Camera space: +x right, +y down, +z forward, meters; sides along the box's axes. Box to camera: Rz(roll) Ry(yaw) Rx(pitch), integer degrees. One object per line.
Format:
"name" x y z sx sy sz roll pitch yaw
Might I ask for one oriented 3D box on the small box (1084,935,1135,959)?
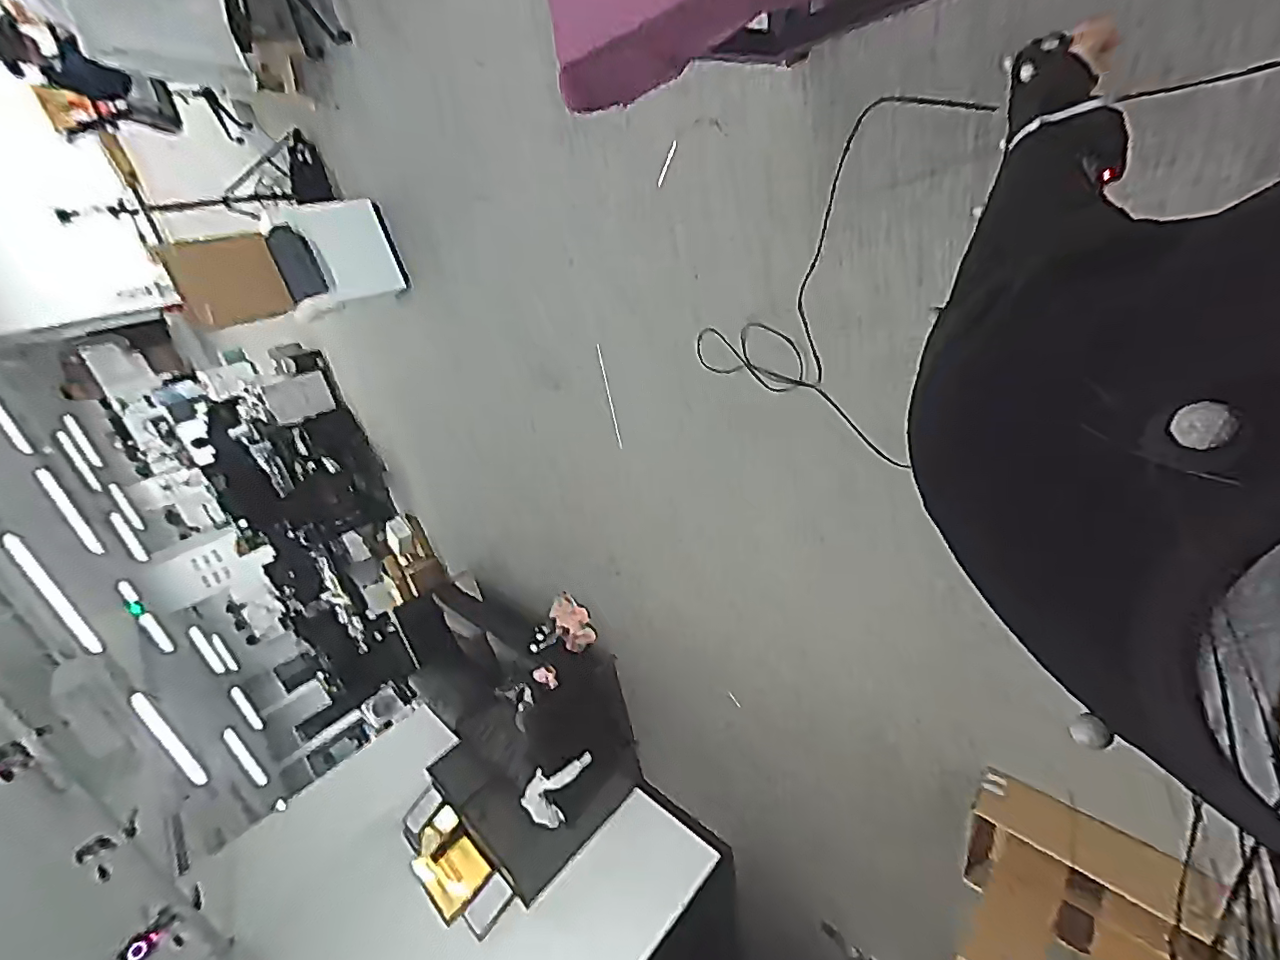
"small box" 1.285 1.385 1.439 0.179 0.176 0.168 15 124 46

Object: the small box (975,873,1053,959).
"small box" 1.107 1.336 1.615 0.168 0.176 0.179 17 125 42
